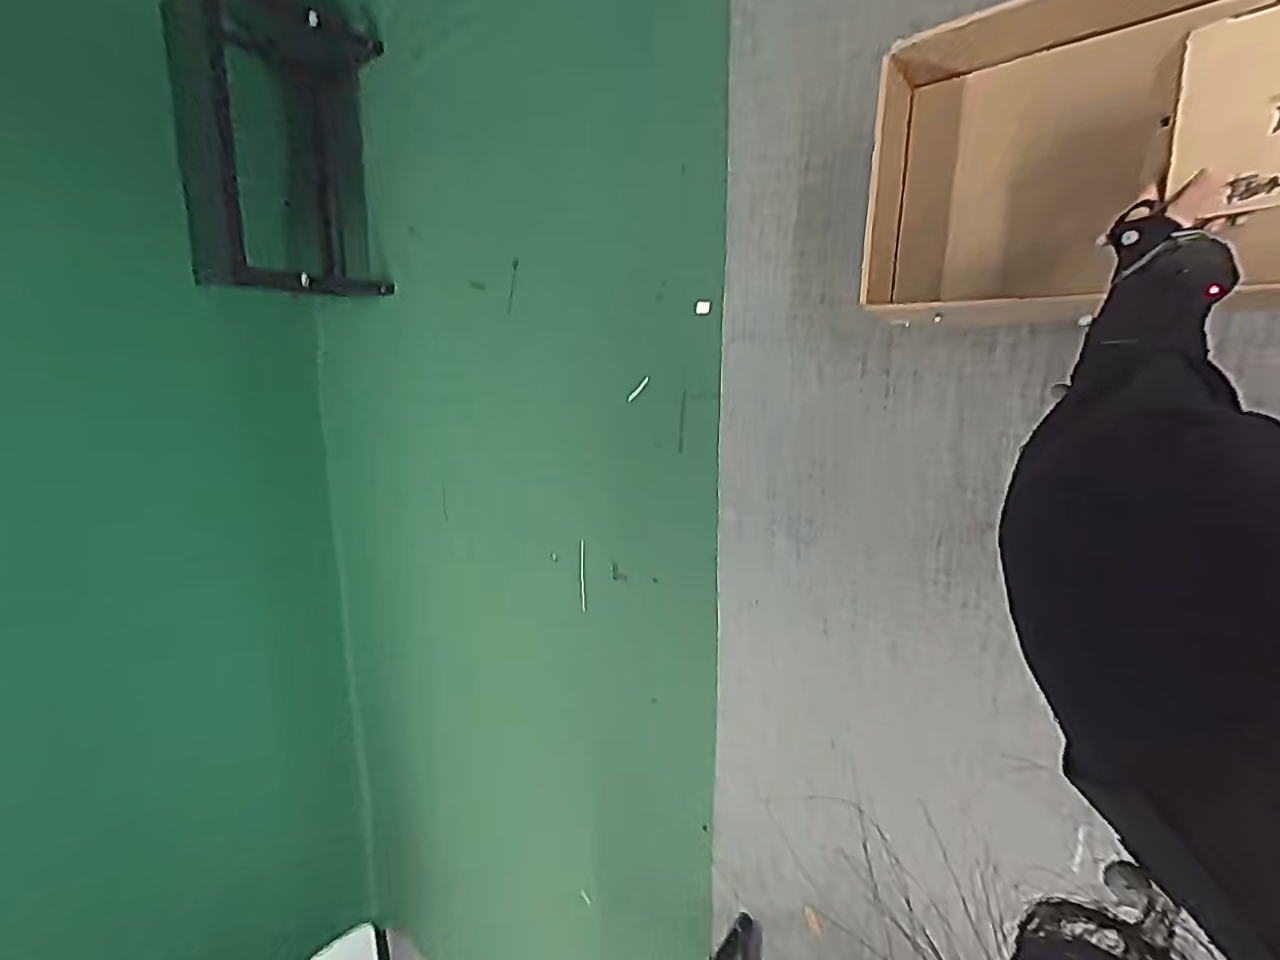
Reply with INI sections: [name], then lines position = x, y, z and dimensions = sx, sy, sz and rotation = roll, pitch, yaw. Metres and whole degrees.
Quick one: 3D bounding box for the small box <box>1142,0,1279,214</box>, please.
[small box]
position = 0.647, -0.385, 0.554
dimensions = 0.168, 0.176, 0.179
rotation = 3, 113, 33
